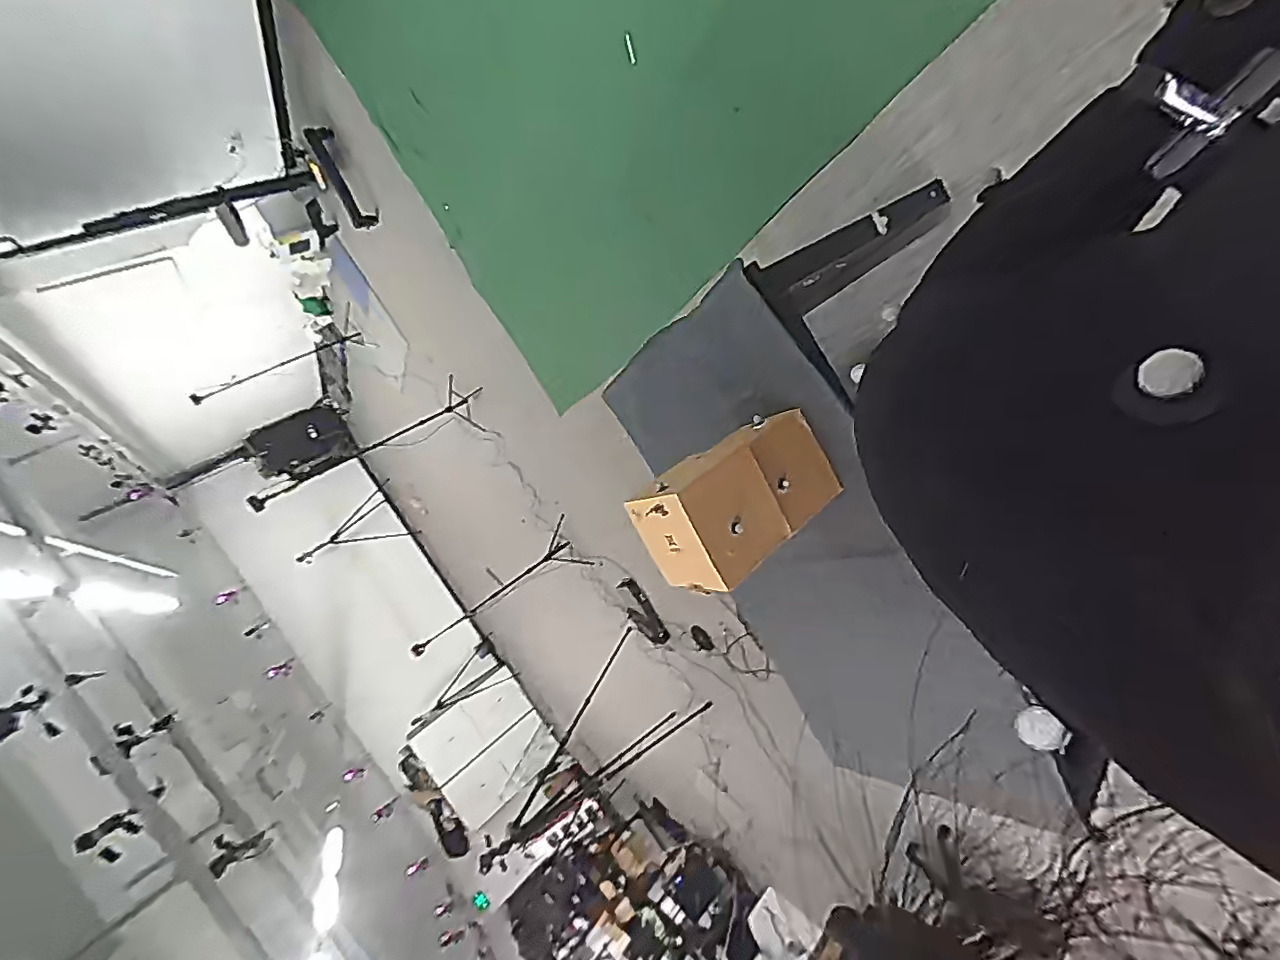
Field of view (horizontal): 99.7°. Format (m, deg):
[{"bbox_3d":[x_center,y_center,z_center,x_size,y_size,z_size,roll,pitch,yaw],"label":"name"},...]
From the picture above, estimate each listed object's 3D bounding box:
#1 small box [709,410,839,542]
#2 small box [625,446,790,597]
[{"bbox_3d":[0.229,-0.001,0.986,0.179,0.176,0.168,60,149,-7],"label":"small box"},{"bbox_3d":[0.113,0.067,0.889,0.168,0.176,0.179,-13,109,58],"label":"small box"}]
